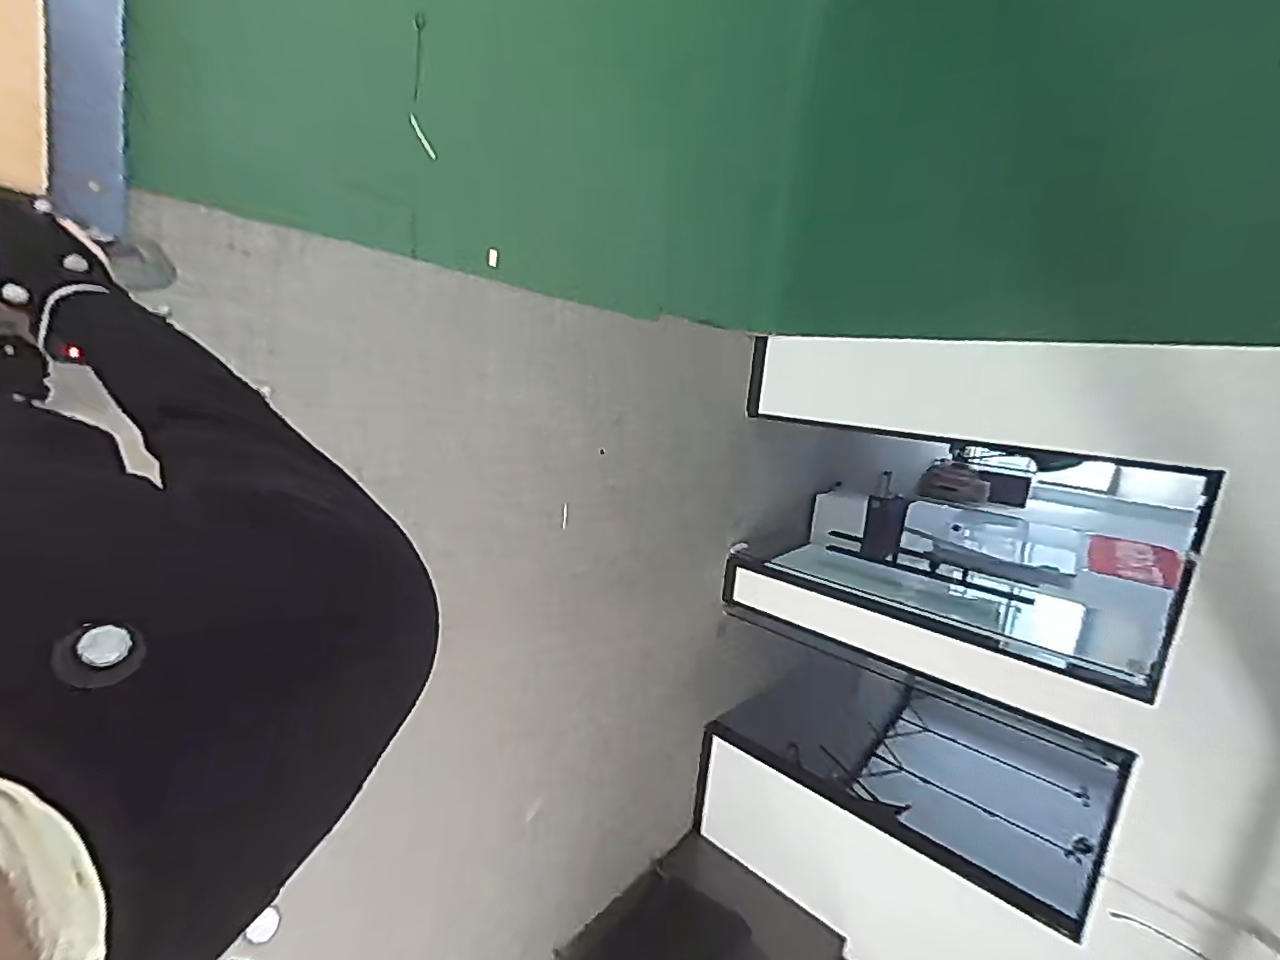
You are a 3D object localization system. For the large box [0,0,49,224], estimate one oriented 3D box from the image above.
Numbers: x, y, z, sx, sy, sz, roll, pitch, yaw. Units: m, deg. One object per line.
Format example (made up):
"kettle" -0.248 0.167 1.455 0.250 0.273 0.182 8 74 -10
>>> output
"large box" -1.023 -0.605 0.706 0.320 0.320 0.408 -4 102 -50
